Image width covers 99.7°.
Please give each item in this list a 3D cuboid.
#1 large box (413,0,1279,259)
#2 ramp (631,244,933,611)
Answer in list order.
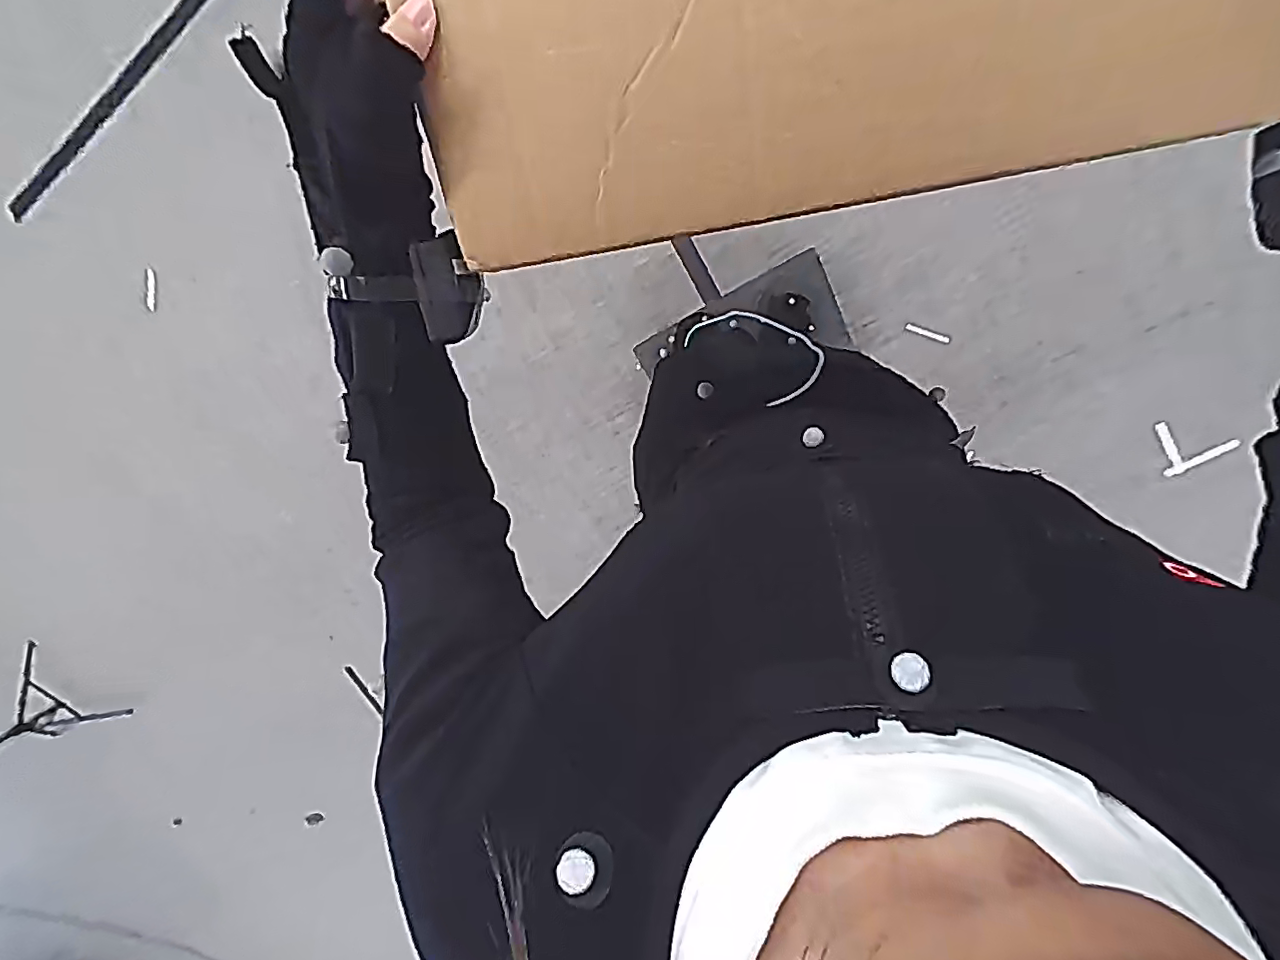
[{"bbox_3d":[0.091,-0.353,0.354,0.408,0.320,0.320,-6,116,10],"label":"large box"},{"bbox_3d":[0.431,-0.064,1.500,0.509,0.206,0.991,-28,103,15],"label":"ramp"}]
